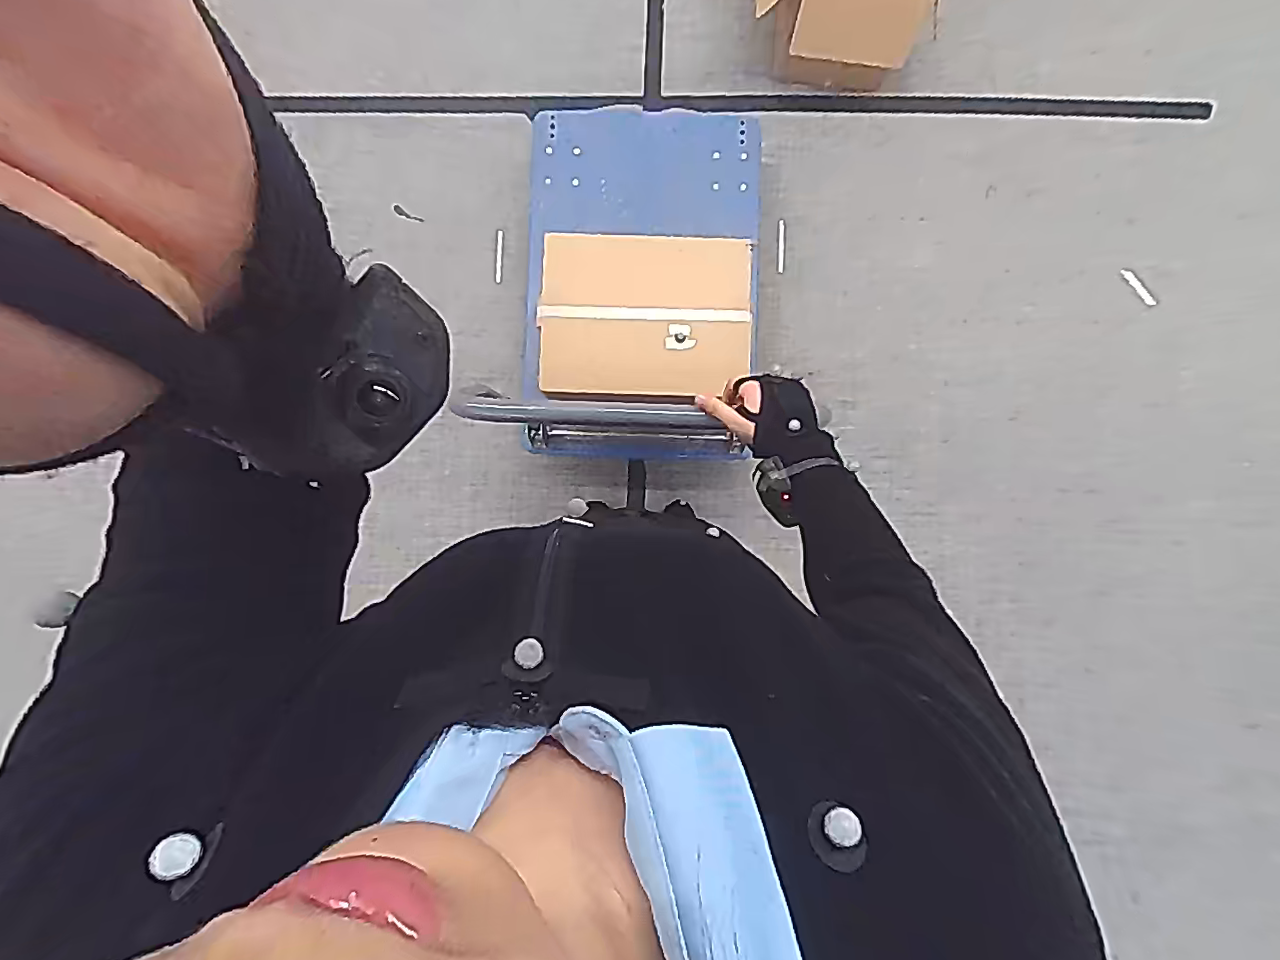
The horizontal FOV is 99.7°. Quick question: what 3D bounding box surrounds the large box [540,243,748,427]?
[{"bbox_3d":[0.004,-0.294,1.190,0.408,0.320,0.320,2,88,-1],"label":"large box"}]
